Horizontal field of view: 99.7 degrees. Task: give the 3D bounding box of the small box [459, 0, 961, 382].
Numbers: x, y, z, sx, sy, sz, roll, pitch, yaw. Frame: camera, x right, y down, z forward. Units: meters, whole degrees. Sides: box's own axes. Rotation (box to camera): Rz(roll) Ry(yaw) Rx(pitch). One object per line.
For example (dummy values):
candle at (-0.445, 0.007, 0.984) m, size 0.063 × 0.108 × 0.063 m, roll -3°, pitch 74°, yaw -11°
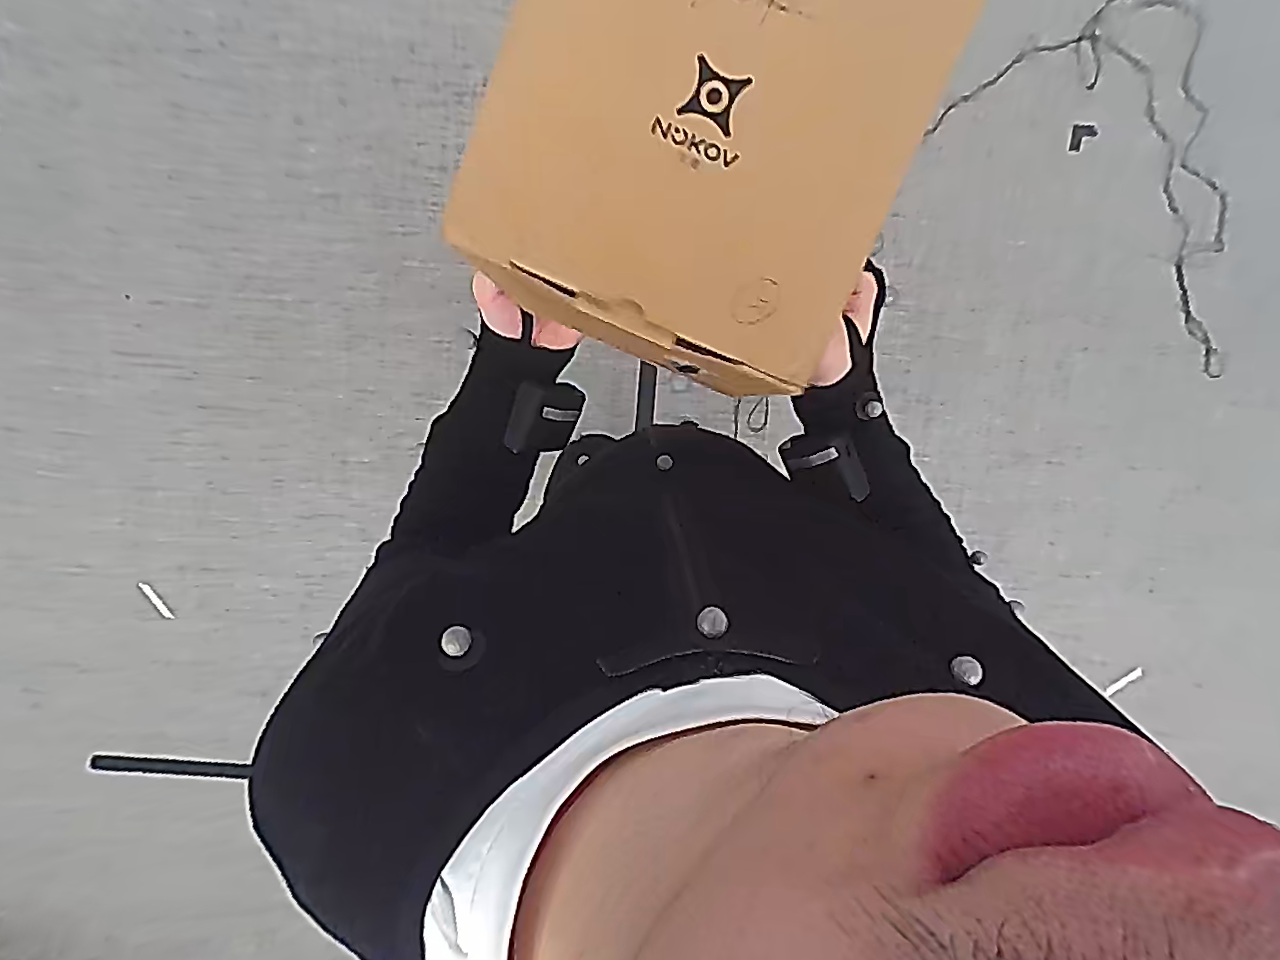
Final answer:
small box at (0.025, -0.163, 0.305) m, size 0.168 × 0.176 × 0.179 m, roll 20°, pitch 97°, yaw -5°
